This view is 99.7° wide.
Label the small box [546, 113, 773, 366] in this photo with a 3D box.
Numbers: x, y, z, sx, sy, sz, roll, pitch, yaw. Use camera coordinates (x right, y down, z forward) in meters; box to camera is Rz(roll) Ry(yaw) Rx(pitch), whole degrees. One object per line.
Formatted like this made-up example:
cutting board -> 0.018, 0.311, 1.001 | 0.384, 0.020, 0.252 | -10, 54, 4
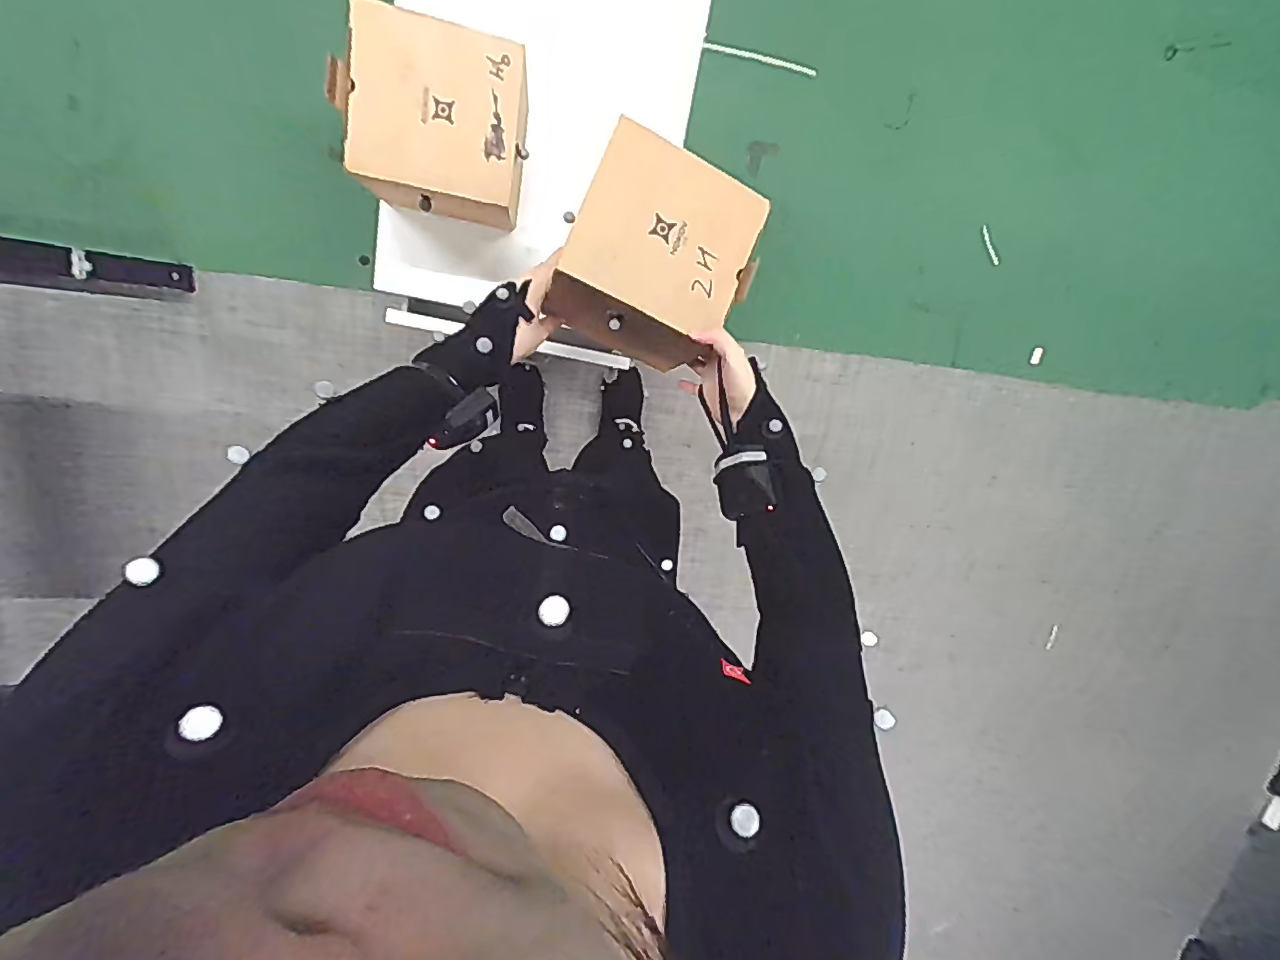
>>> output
small box -> 0.008, -0.240, 0.596 | 0.179, 0.176, 0.168 | 23, 87, -16
